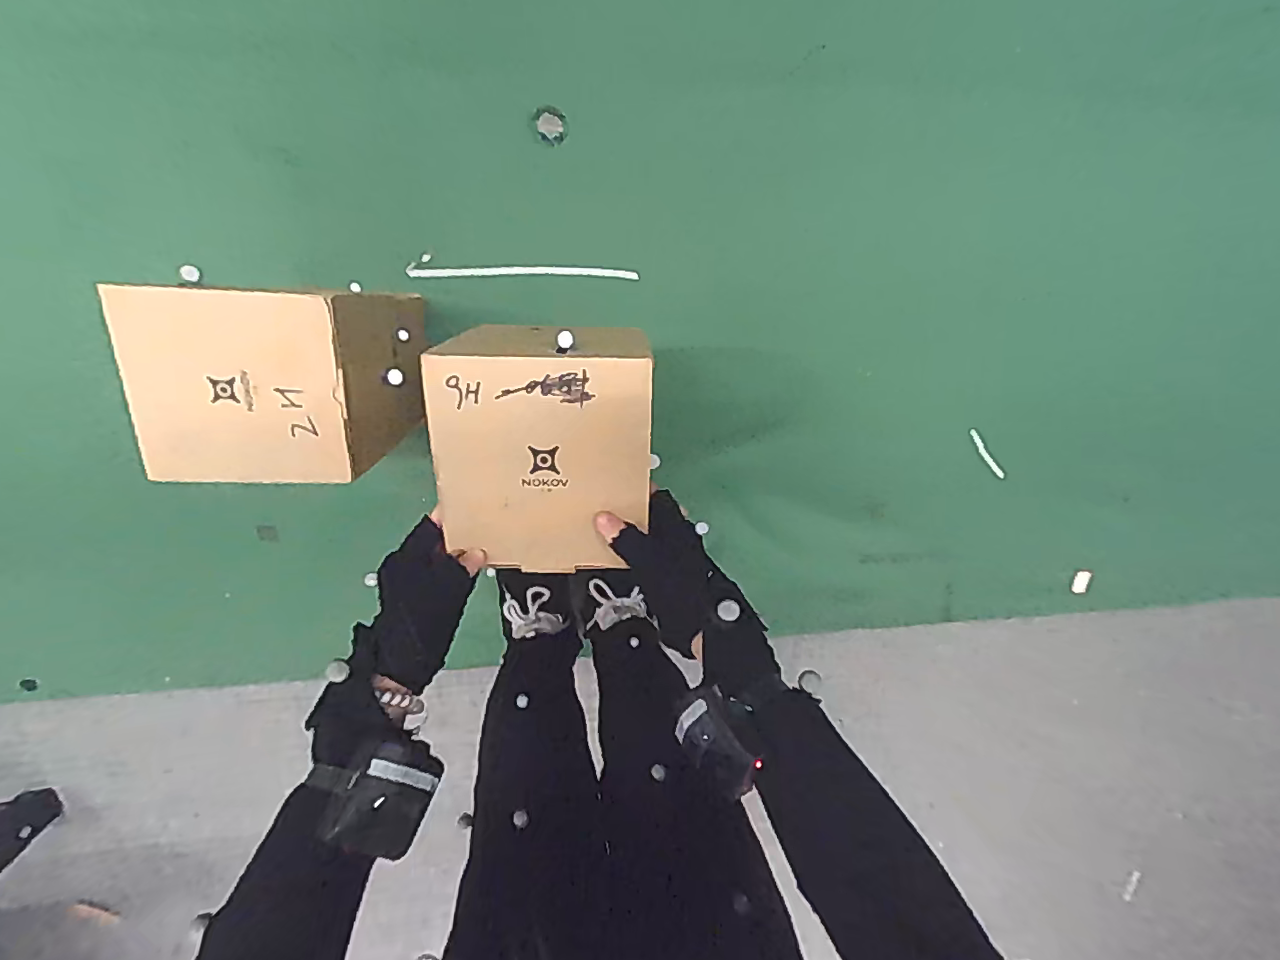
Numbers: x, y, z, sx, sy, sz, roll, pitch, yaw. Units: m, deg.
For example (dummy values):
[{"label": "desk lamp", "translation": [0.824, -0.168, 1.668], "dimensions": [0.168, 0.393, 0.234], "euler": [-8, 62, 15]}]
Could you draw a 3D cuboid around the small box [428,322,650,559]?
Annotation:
[{"label": "small box", "translation": [-0.077, -0.044, 0.499], "dimensions": [0.168, 0.176, 0.179], "euler": [0, 112, -2]}]

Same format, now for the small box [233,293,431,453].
[{"label": "small box", "translation": [-0.377, -0.144, 0.700], "dimensions": [0.168, 0.176, 0.179], "euler": [2, 108, -7]}]
